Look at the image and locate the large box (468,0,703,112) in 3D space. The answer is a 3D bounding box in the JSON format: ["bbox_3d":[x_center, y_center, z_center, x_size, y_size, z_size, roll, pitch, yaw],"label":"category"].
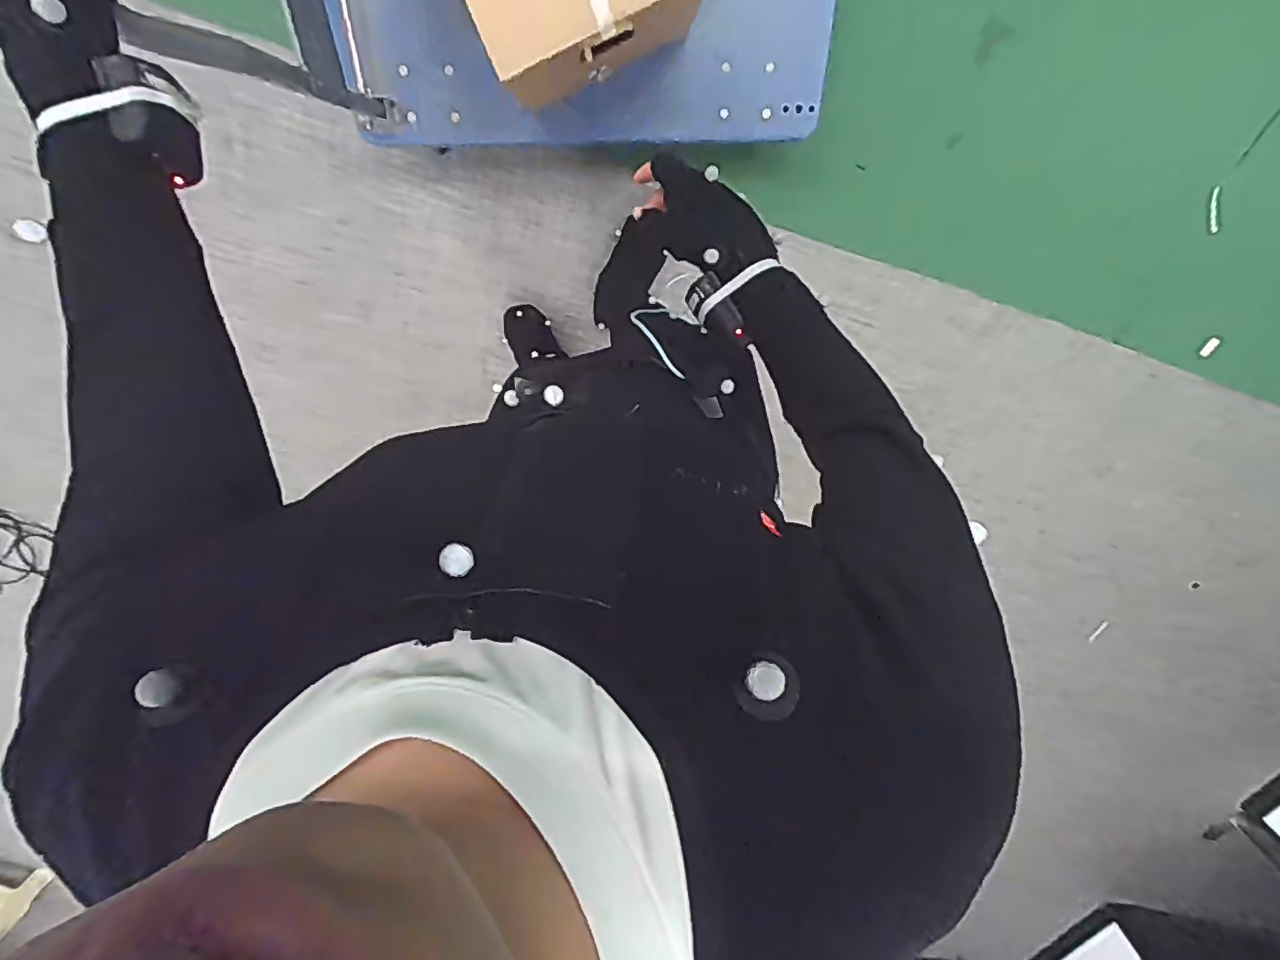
[{"bbox_3d":[-0.120,-0.826,0.766,0.320,0.320,0.408,-20,116,9],"label":"large box"}]
